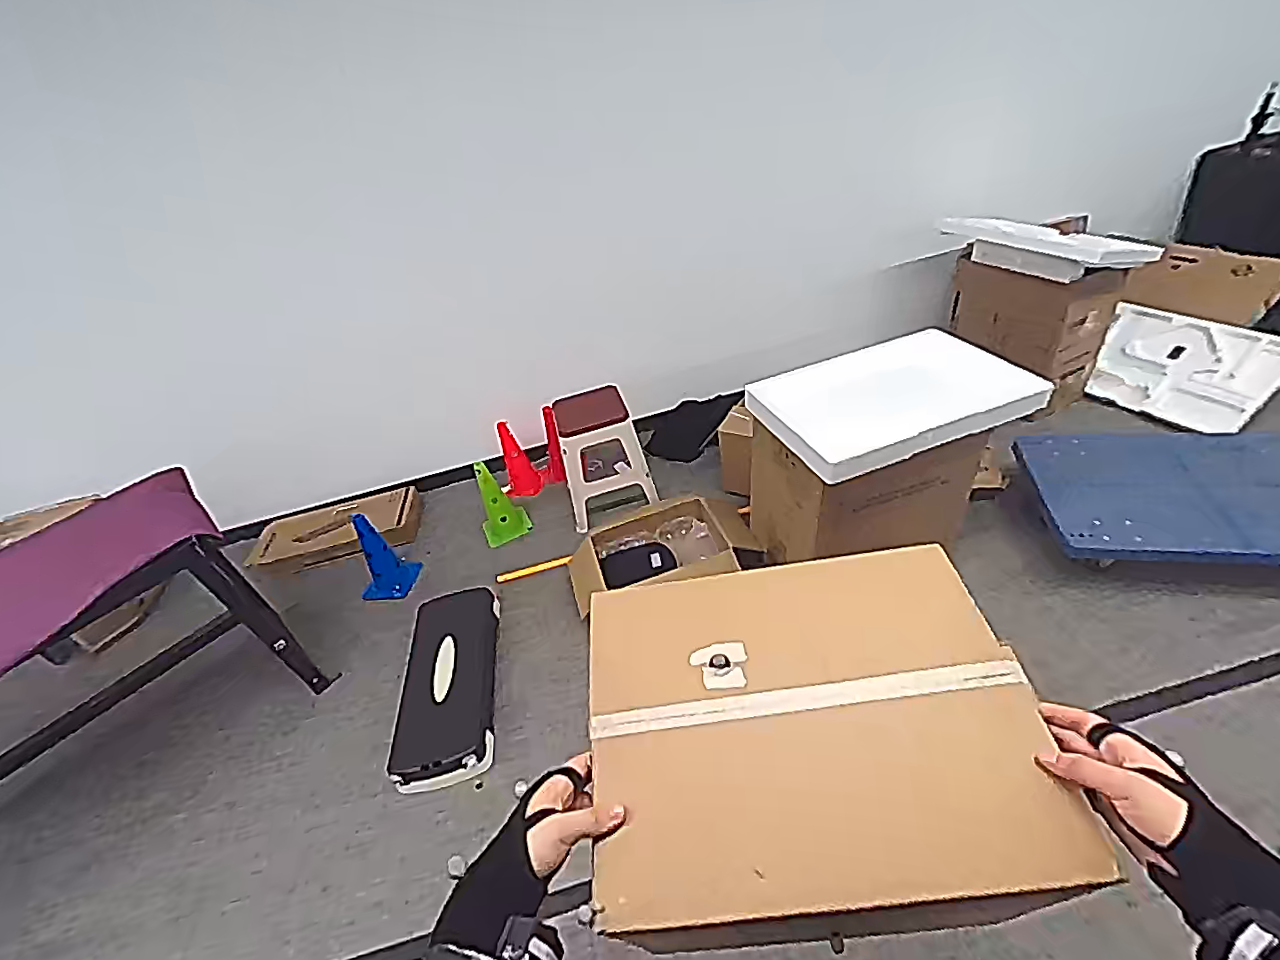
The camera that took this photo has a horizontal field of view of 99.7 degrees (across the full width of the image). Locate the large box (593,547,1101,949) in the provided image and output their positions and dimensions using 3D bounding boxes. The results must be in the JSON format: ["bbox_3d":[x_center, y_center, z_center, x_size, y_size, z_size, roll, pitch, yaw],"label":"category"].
[{"bbox_3d":[0.178,0.321,0.635,0.408,0.320,0.320,-10,44,5],"label":"large box"}]
